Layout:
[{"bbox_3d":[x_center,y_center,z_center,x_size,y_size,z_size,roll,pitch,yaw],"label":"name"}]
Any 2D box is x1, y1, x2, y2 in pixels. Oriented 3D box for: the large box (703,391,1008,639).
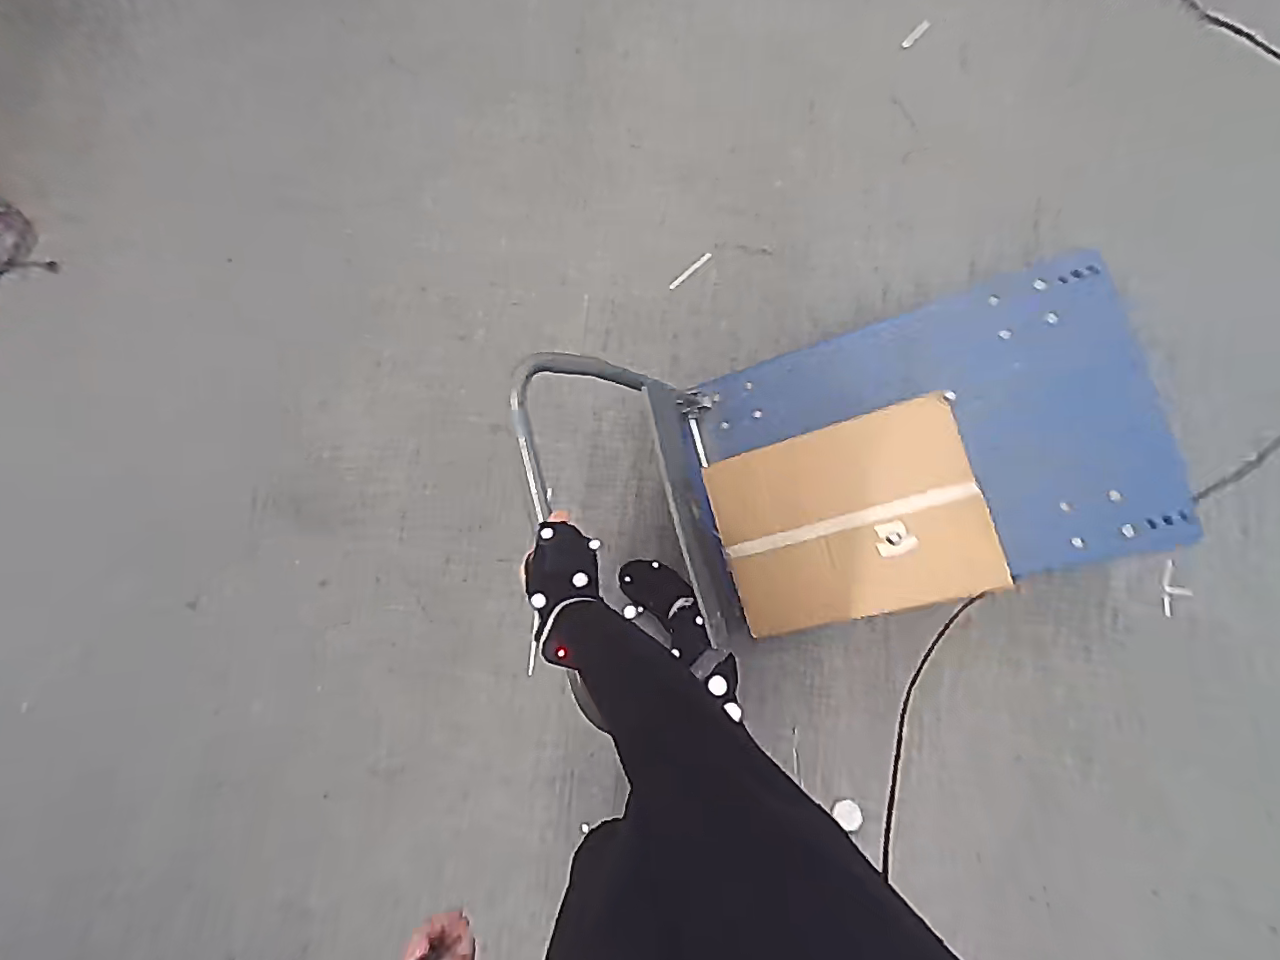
[{"bbox_3d":[0.379,0.072,1.024,0.408,0.320,0.320,-19,84,18],"label":"large box"}]
